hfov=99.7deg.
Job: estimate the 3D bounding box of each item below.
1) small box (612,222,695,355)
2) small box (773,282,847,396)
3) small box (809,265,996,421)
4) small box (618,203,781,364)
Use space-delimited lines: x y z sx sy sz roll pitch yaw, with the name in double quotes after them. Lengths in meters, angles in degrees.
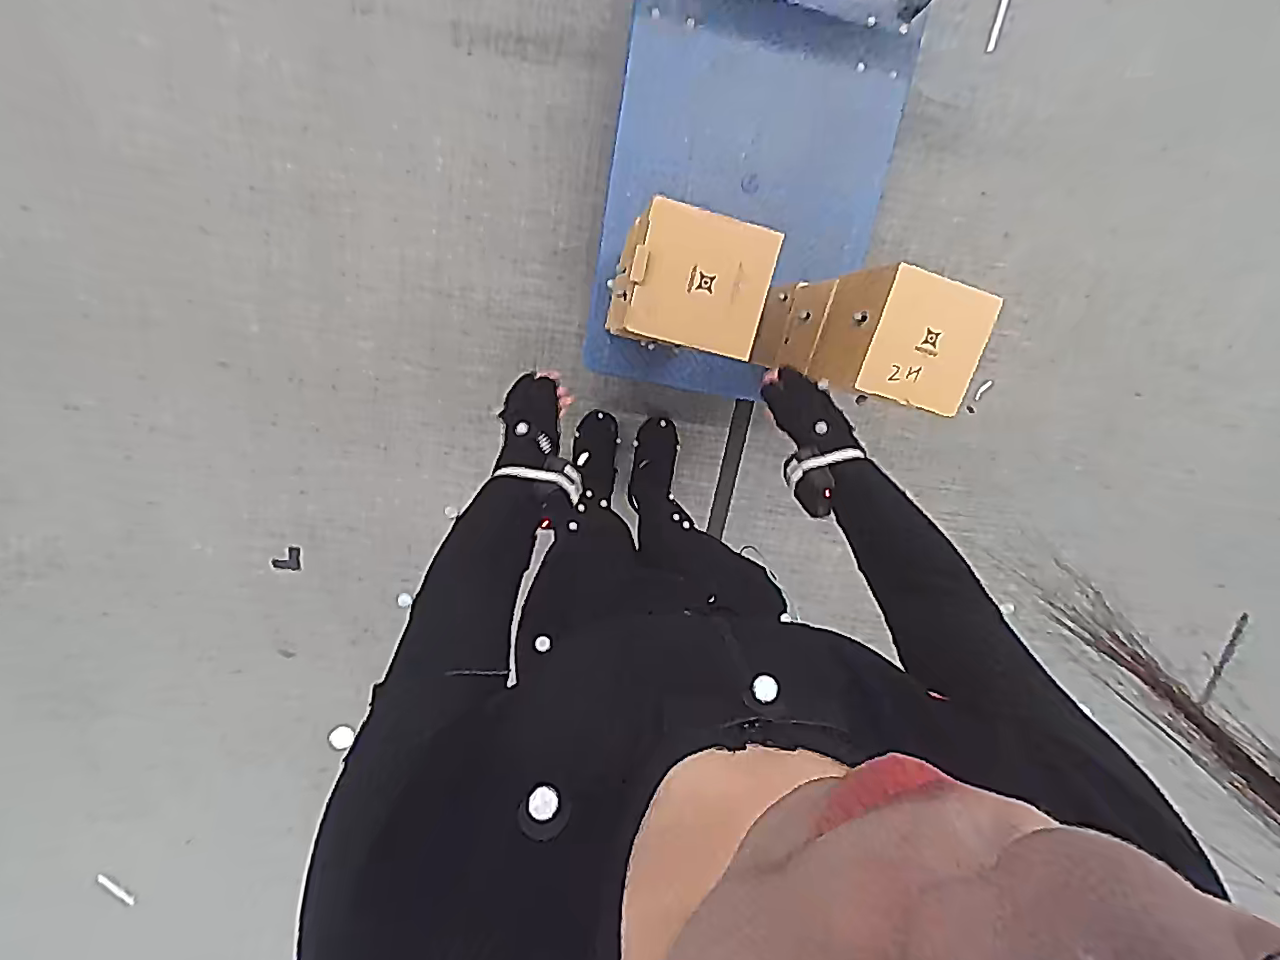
0.048 -0.318 0.931 0.168 0.176 0.179 10 103 -8 "small box"
0.366 -0.247 0.985 0.179 0.176 0.168 13 103 -11 "small box"
0.384 -0.207 0.827 0.168 0.176 0.179 15 103 -10 "small box"
0.070 -0.271 0.775 0.179 0.176 0.168 12 105 -10 "small box"
